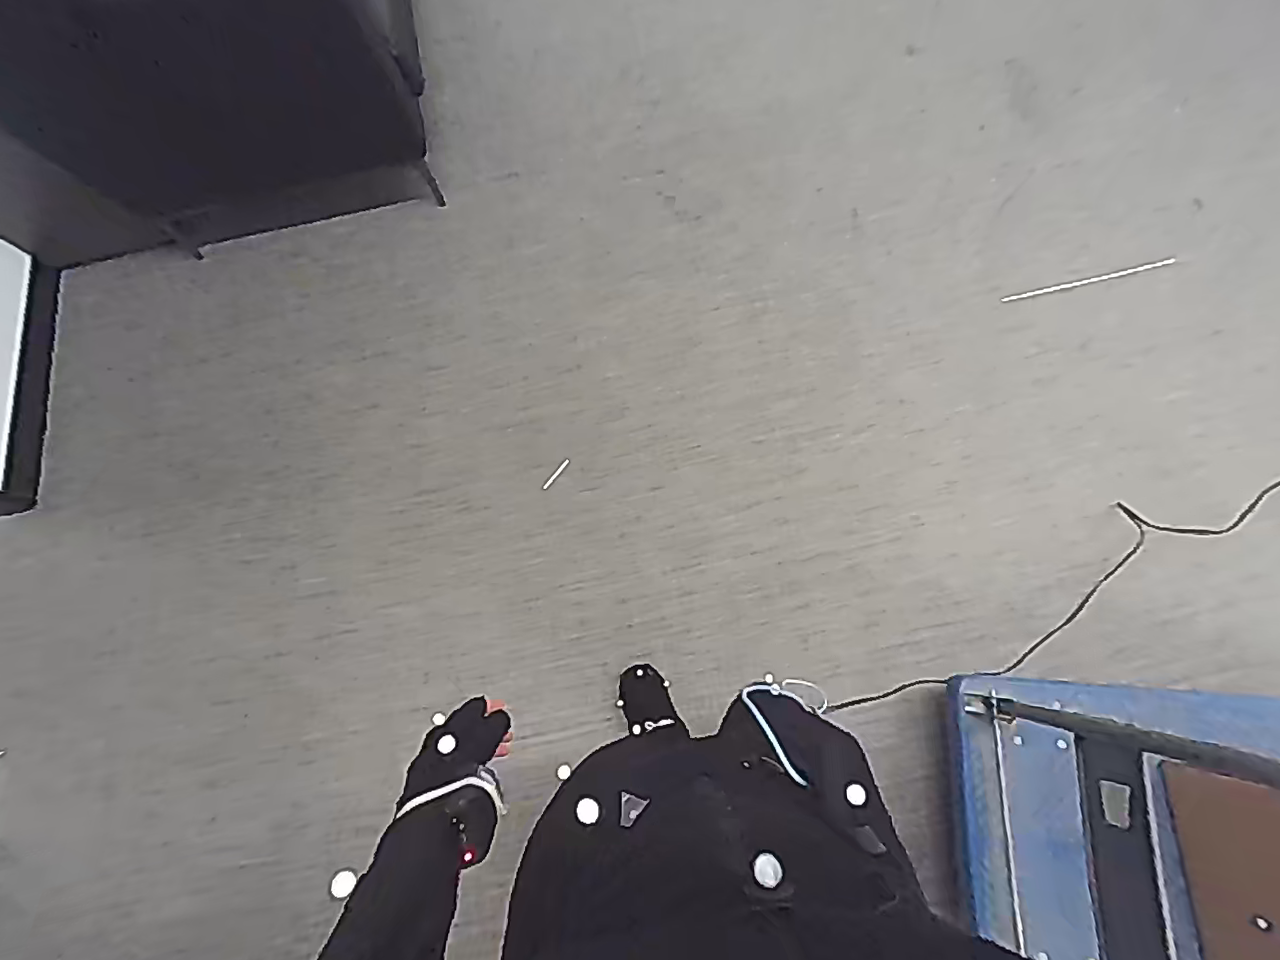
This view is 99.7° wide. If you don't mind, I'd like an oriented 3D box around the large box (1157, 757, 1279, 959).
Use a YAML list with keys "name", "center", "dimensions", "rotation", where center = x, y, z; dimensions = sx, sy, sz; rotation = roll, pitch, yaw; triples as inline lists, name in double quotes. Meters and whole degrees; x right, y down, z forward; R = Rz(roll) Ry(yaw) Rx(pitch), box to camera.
- name: "large box"
  center: [1.114, 0.668, 0.815]
  dimensions: [0.320, 0.320, 0.408]
  rotation: [-1, 73, 4]
